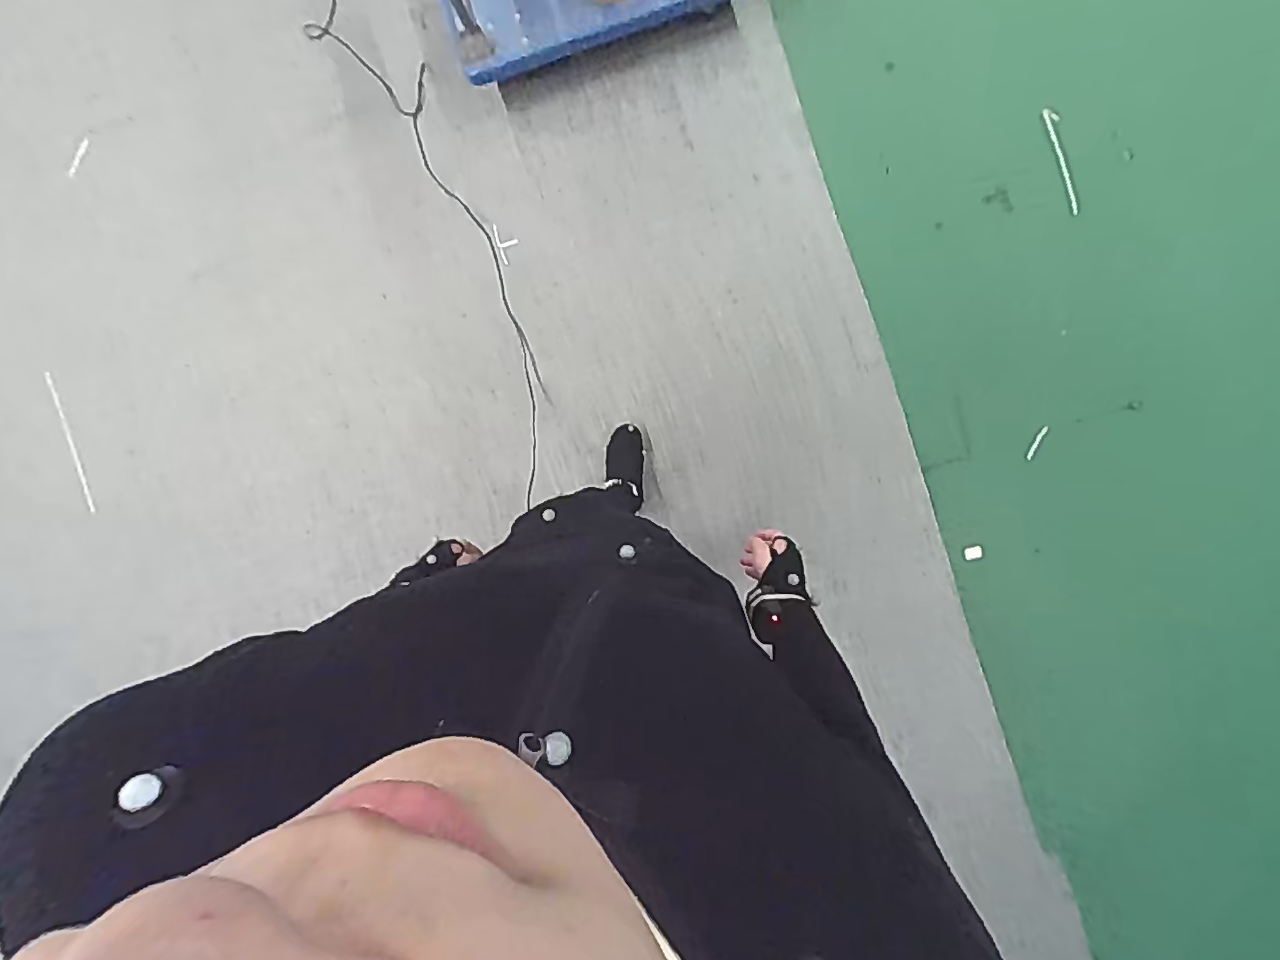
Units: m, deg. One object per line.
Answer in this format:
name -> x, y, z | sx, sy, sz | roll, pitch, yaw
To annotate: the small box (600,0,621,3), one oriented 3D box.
small box -> -0.056, -1.379, 1.383 | 0.168, 0.176, 0.179 | -16, 90, 3
